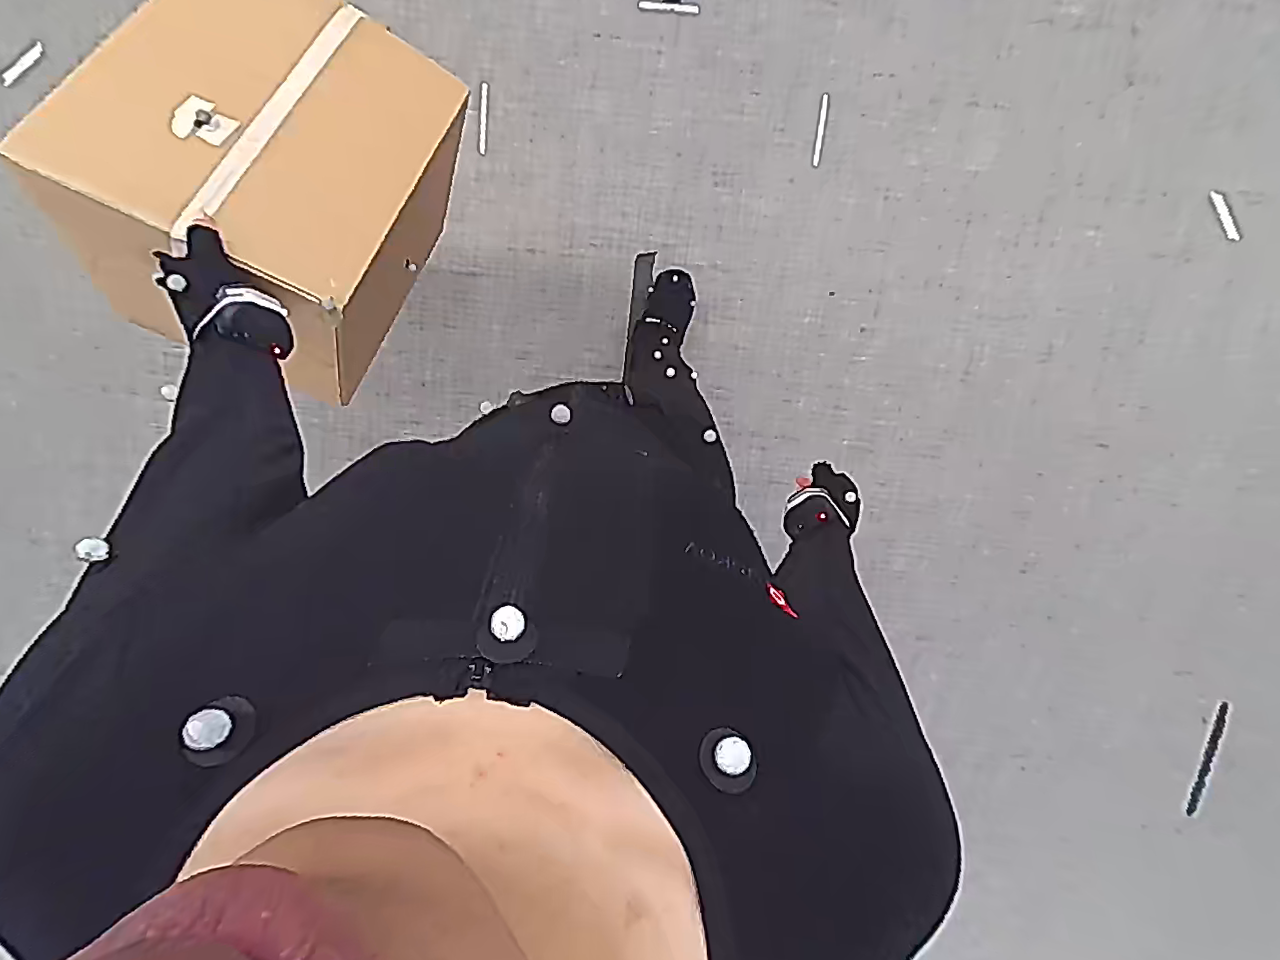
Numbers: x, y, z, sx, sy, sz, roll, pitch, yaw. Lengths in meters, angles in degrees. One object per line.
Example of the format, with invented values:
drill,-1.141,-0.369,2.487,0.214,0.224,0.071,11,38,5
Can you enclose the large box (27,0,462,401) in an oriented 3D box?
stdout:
large box,-0.495,-0.393,0.784,0.320,0.320,0.408,23,67,-18
